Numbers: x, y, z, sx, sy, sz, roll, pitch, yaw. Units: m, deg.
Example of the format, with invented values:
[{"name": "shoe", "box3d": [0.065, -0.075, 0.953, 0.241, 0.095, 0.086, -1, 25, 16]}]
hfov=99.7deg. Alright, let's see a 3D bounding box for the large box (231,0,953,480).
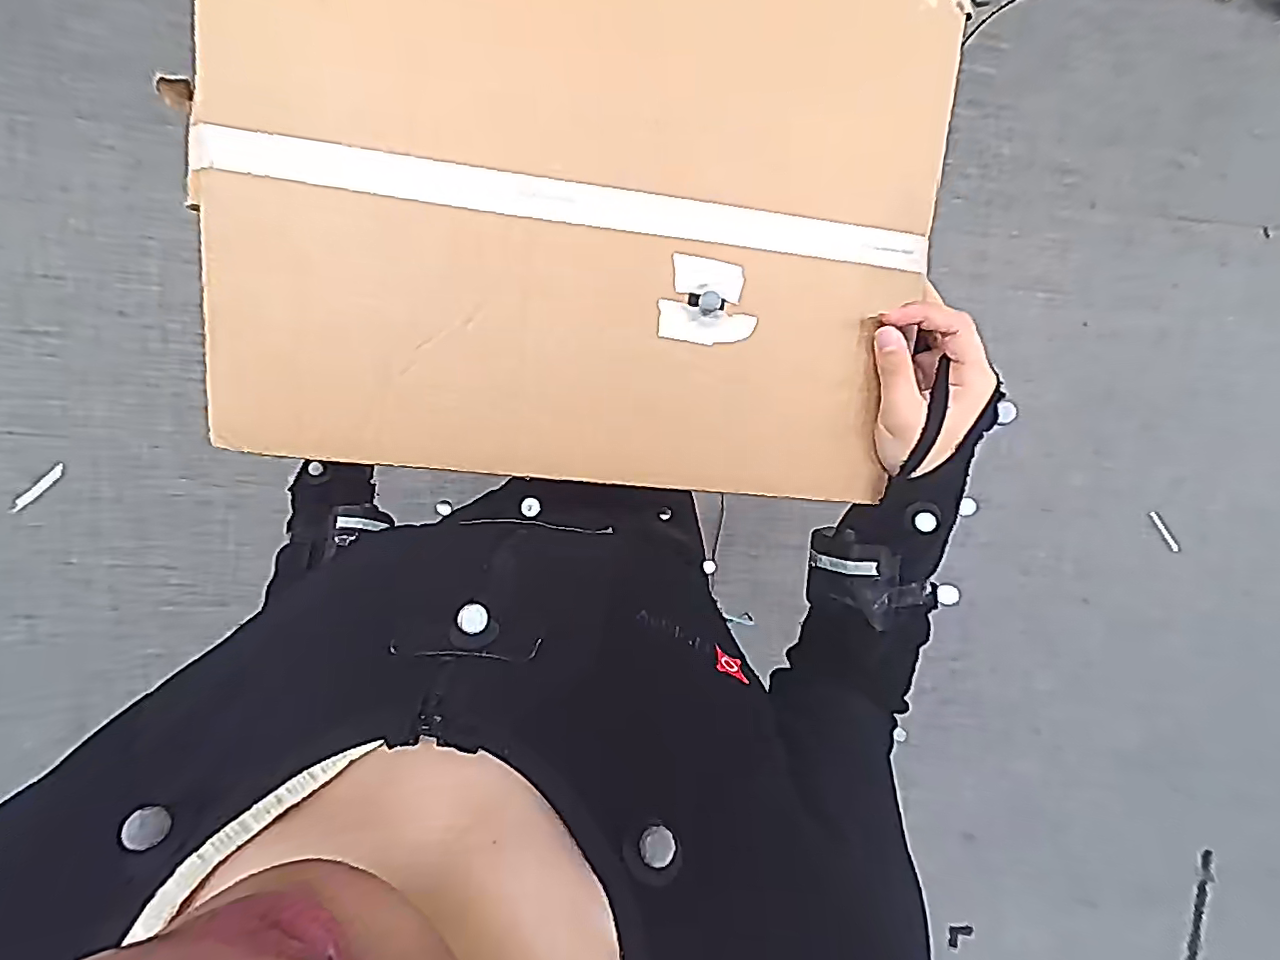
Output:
[{"name": "large box", "box3d": [-0.042, -0.185, 0.459, 0.408, 0.320, 0.320, 4, 99, -10]}]
